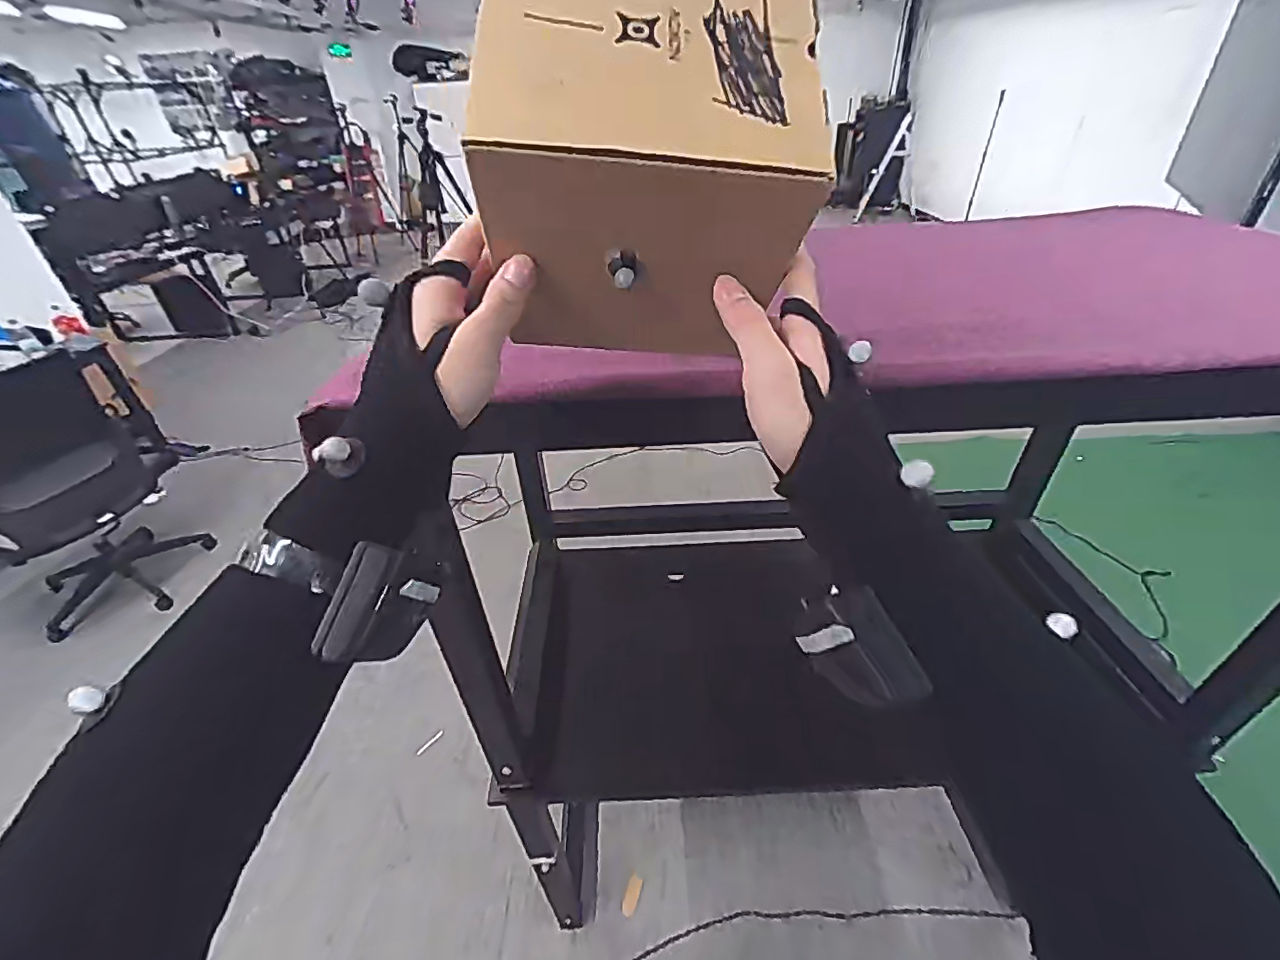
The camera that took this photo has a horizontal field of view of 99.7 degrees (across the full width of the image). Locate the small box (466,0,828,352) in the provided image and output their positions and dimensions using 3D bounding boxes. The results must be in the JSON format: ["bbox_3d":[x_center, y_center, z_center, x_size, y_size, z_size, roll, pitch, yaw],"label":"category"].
[{"bbox_3d":[0.001,-0.199,0.355,0.179,0.176,0.168,2,72,-4],"label":"small box"}]
